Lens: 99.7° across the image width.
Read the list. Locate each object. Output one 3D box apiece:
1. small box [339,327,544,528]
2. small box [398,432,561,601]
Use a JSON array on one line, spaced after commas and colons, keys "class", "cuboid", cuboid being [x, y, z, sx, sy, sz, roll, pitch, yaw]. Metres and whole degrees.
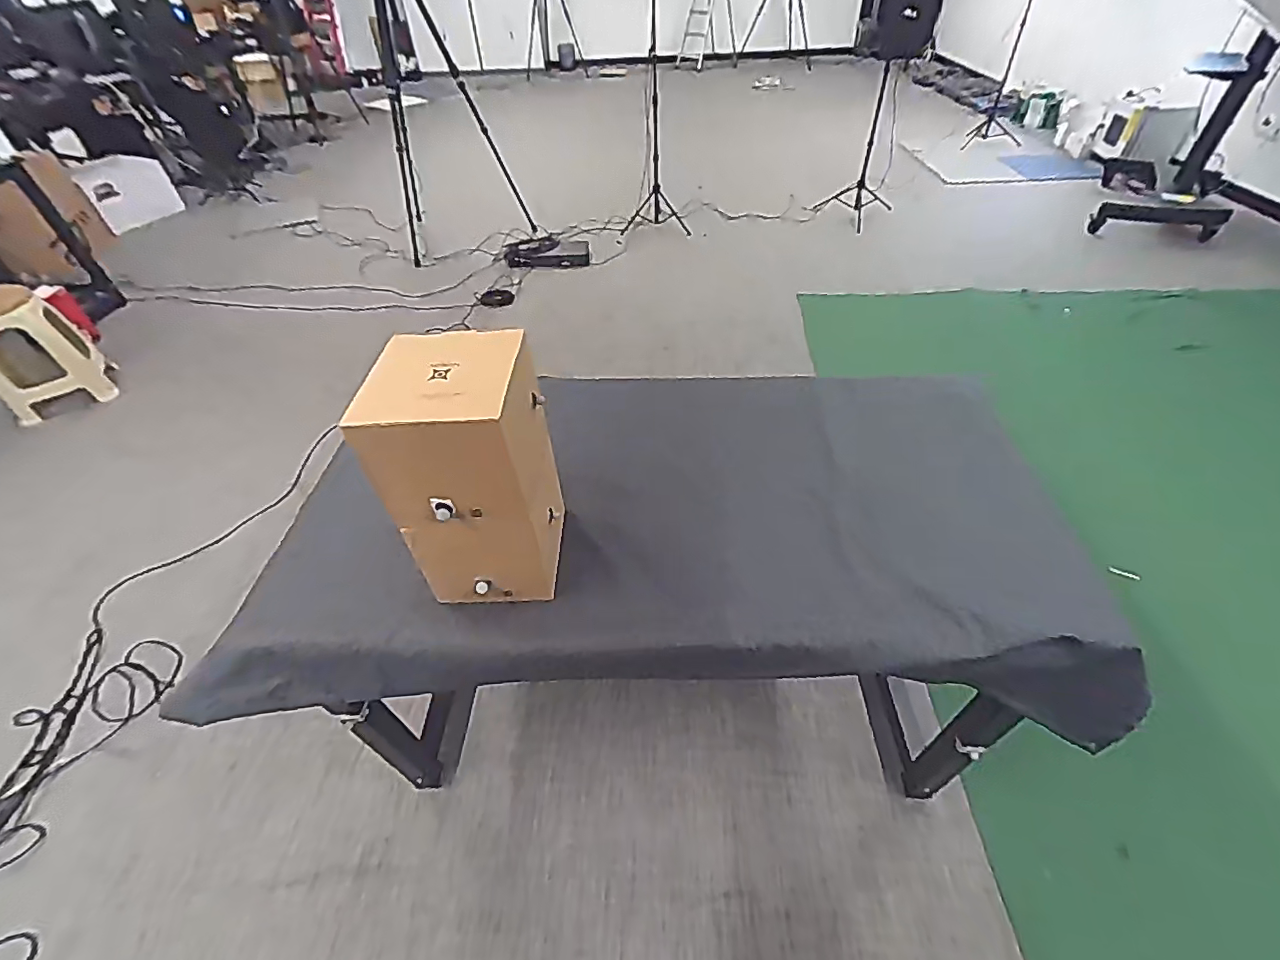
[{"class": "small box", "cuboid": [-0.215, -0.062, 0.646, 0.168, 0.176, 0.179, -3, 46, 2]}, {"class": "small box", "cuboid": [-0.208, 0.051, 0.762, 0.168, 0.176, 0.179, -2, 46, 1]}]
